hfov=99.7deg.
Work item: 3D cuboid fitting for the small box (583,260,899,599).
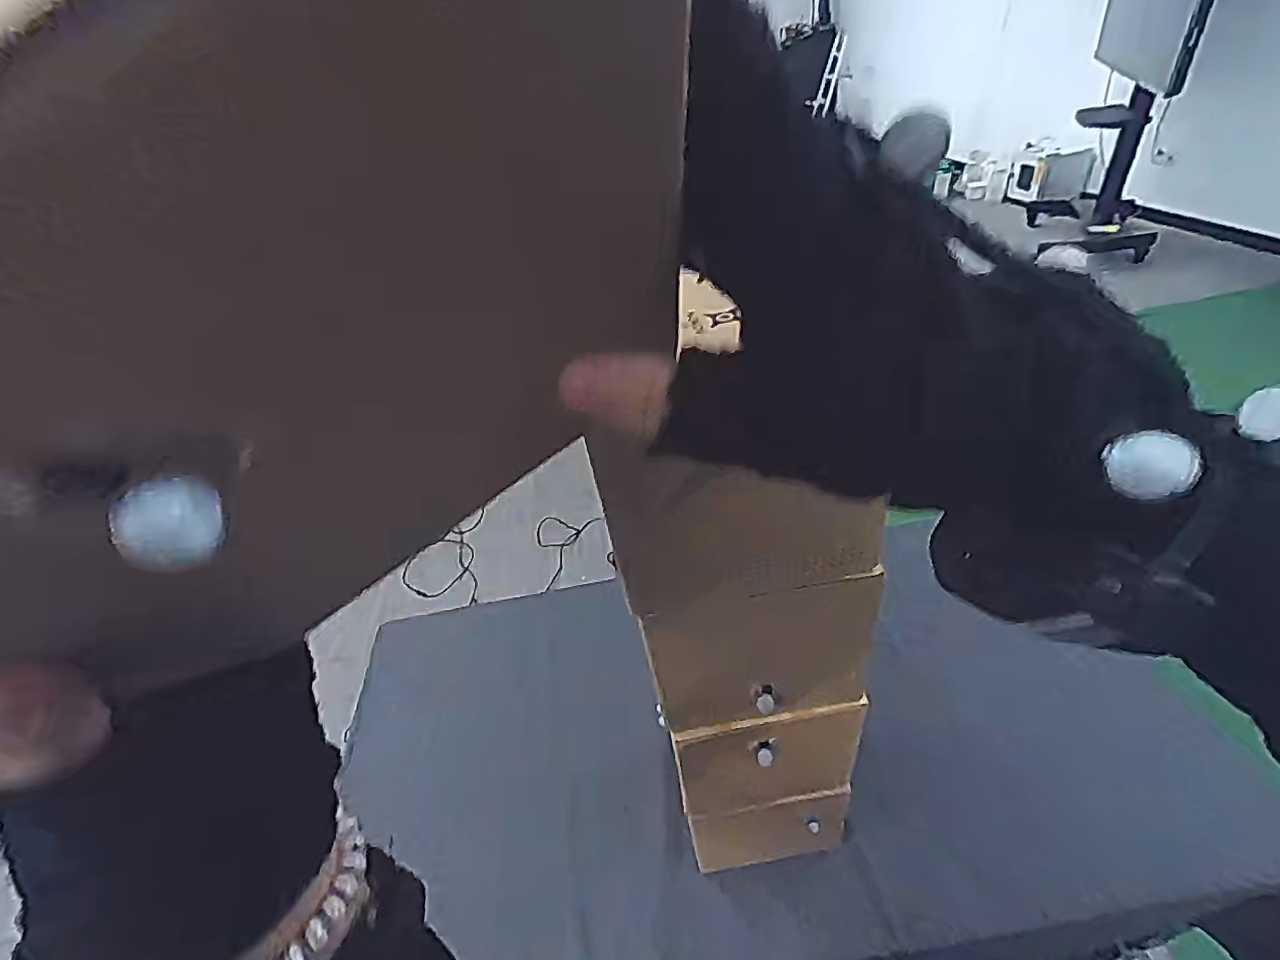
[{"bbox_3d":[0.055,-0.036,0.390,0.179,0.176,0.168,-11,39,0],"label":"small box"}]

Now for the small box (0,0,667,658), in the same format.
[{"bbox_3d":[-0.106,-0.070,0.129,0.179,0.176,0.168,-34,82,0],"label":"small box"}]

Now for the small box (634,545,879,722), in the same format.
[{"bbox_3d":[0.086,0.093,0.489,0.179,0.176,0.168,-10,38,1],"label":"small box"}]

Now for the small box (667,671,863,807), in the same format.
[{"bbox_3d":[0.113,0.222,0.584,0.179,0.176,0.168,-11,38,0],"label":"small box"}]
